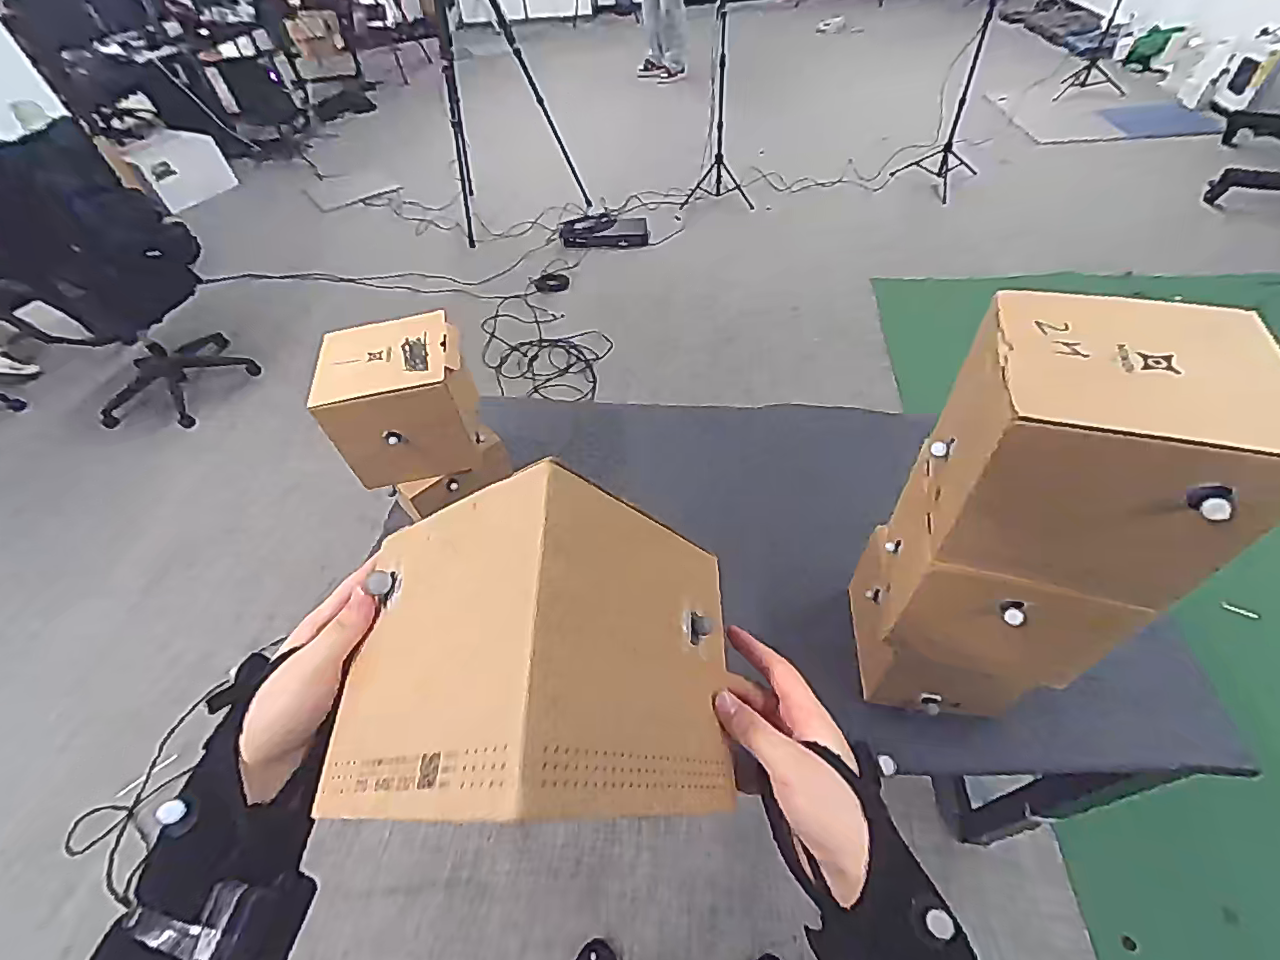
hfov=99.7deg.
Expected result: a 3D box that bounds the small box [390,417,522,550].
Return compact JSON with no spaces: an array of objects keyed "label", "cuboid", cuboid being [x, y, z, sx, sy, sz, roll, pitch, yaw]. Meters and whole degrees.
[{"label":"small box","cuboid":[-0.329,-0.013,0.923,0.168,0.176,0.179,-38,57,-24]}]

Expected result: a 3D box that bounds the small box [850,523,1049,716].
[{"label":"small box","cuboid":[0.376,0.177,0.689,0.168,0.176,0.179,2,50,9]}]

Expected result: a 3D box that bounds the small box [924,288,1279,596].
[{"label":"small box","cuboid":[0.351,-0.029,0.435,0.179,0.176,0.168,12,51,17]}]

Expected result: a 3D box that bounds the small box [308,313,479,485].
[{"label":"small box","cuboid":[-0.342,-0.115,0.794,0.179,0.176,0.168,-12,51,-4]}]

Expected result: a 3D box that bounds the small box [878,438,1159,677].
[{"label":"small box","cuboid":[0.362,0.082,0.558,0.179,0.176,0.168,10,51,16]}]
